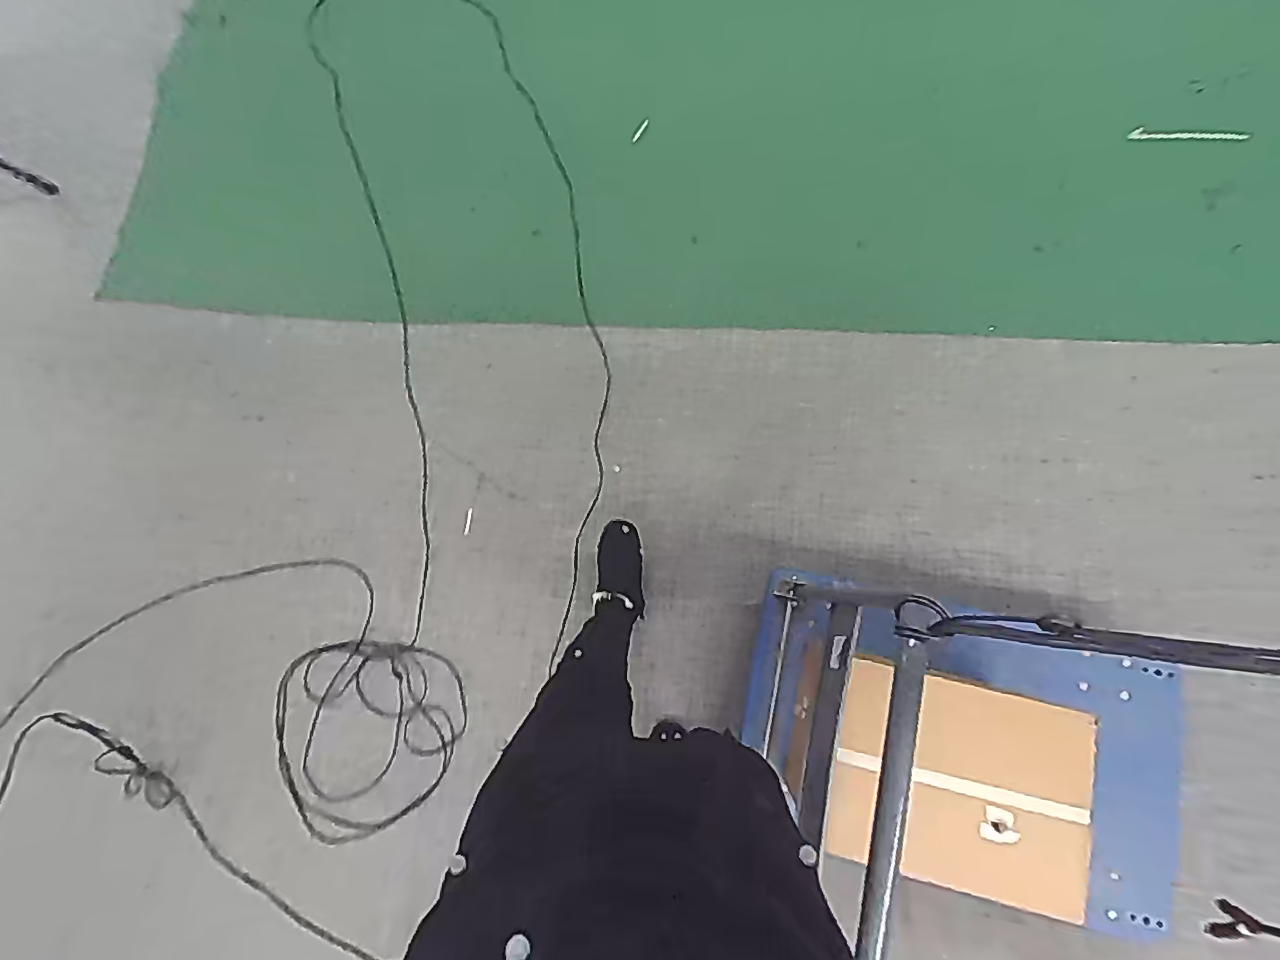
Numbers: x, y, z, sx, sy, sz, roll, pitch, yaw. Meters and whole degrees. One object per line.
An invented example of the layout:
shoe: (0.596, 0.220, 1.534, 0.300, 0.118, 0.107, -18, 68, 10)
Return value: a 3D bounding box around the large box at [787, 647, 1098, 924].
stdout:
large box: (0.524, 0.521, 1.012, 0.408, 0.320, 0.320, 13, 80, 6)
